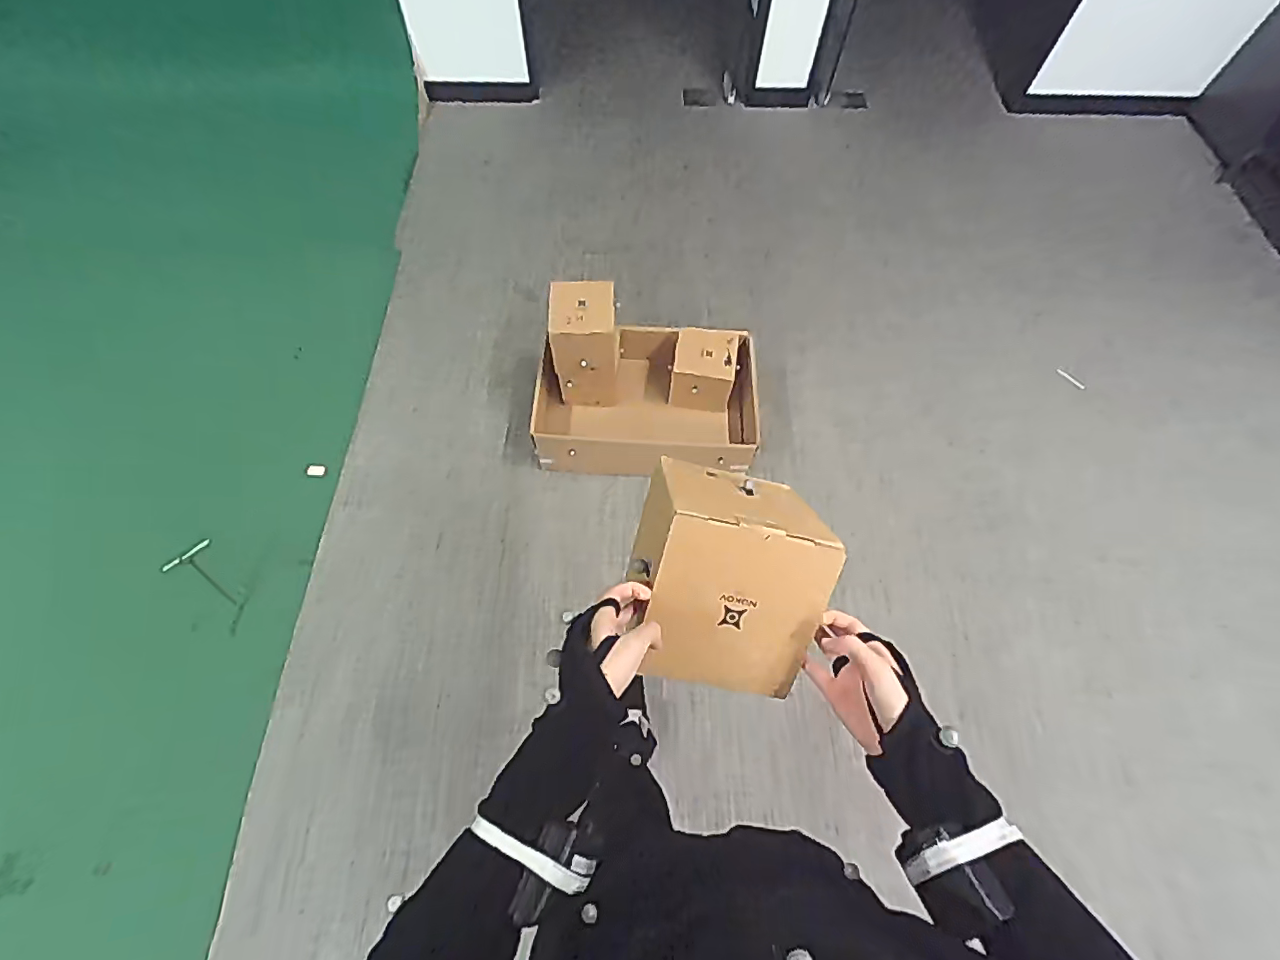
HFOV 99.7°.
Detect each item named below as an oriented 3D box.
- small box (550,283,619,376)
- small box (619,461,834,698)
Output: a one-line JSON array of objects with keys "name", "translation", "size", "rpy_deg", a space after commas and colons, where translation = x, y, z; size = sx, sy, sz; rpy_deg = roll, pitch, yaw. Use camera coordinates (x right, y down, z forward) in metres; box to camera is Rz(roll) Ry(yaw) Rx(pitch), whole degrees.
[{"name": "small box", "translation": [-0.143, -0.401, 1.446], "size": [0.168, 0.176, 0.179], "rpy_deg": [-1, 65, 0]}, {"name": "small box", "translation": [0.077, 0.097, 0.585], "size": [0.168, 0.176, 0.179], "rpy_deg": [13, 105, -6]}]
